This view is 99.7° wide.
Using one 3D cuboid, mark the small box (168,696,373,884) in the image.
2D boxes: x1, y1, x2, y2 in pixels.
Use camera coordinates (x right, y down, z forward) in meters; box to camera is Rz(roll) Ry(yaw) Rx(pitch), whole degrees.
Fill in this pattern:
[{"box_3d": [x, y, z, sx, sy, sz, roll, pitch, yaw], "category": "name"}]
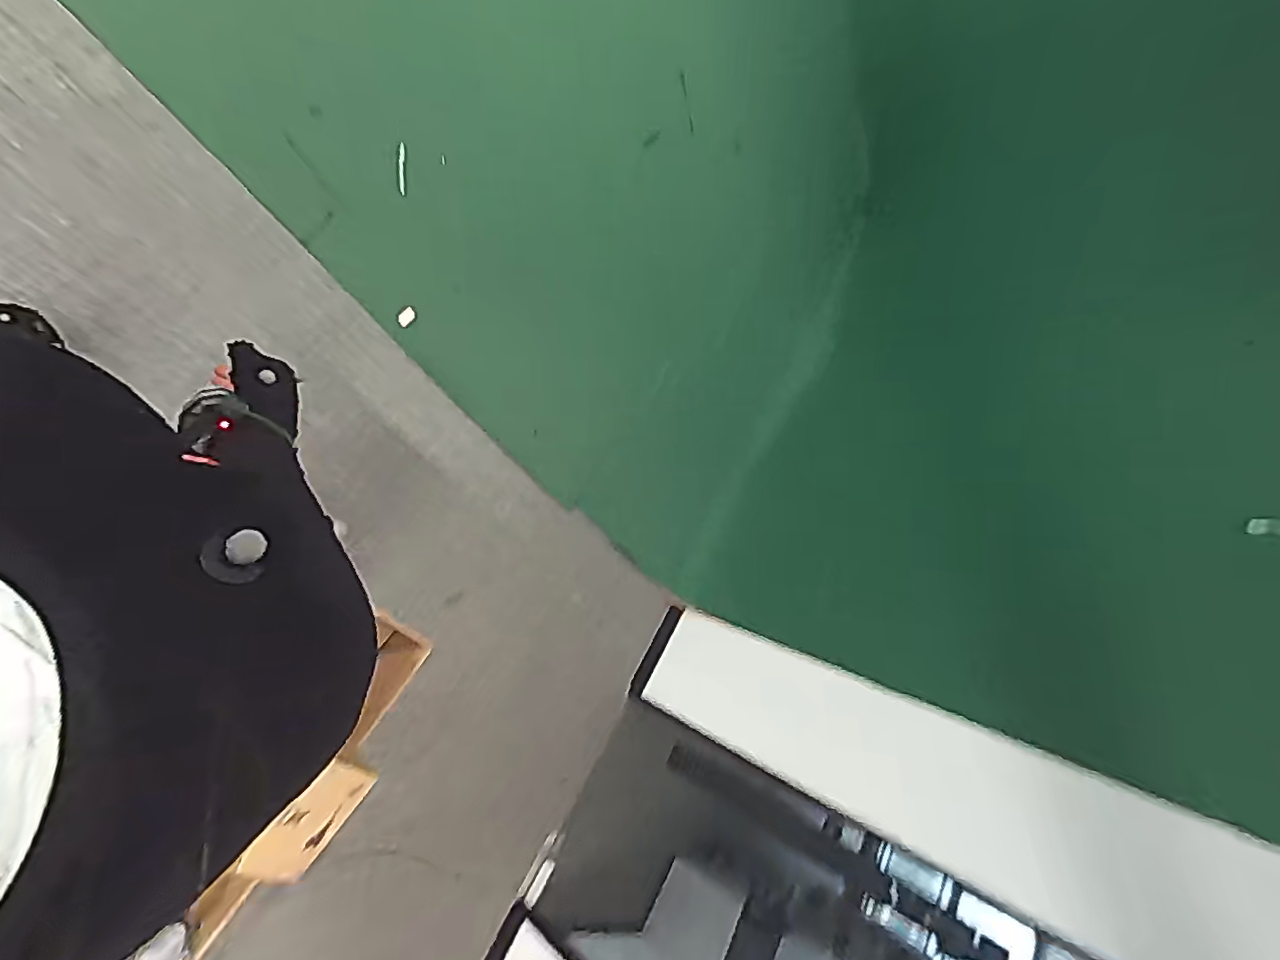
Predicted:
[{"box_3d": [-0.553, 0.455, 0.812, 0.168, 0.176, 0.179, -52, 135, -22], "category": "small box"}]
